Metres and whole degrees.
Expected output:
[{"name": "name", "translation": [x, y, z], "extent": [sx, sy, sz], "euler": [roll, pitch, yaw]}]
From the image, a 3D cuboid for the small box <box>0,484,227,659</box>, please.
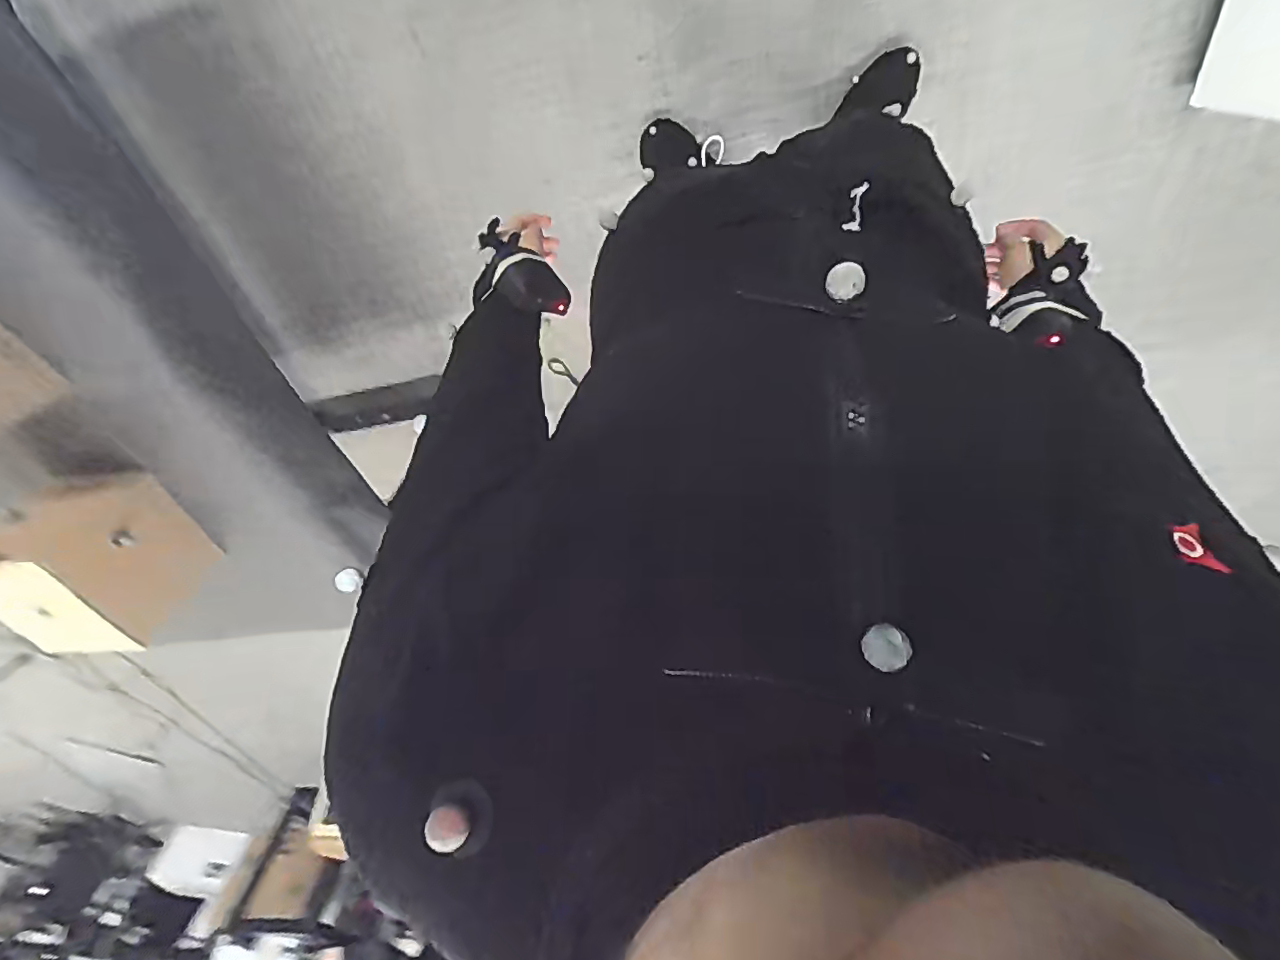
[{"name": "small box", "translation": [-0.725, 0.118, 0.727], "extent": [0.168, 0.176, 0.179], "euler": [-4, 130, 10]}]
